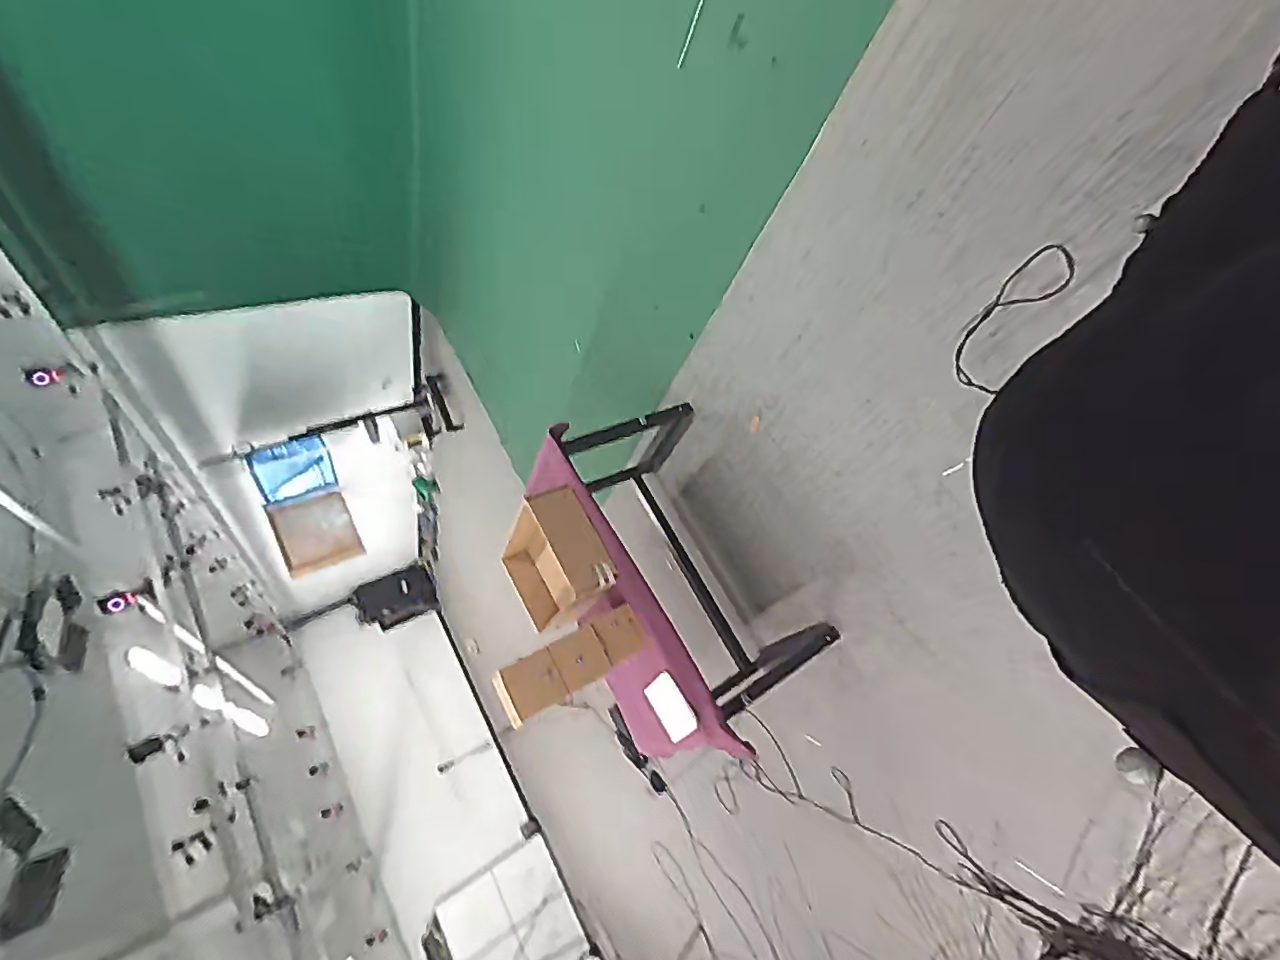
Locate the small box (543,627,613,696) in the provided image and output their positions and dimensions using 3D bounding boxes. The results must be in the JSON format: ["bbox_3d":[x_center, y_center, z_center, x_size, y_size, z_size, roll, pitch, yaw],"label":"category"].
[{"bbox_3d":[-0.217,0.609,1.809,0.179,0.176,0.168,60,149,16],"label":"small box"}]

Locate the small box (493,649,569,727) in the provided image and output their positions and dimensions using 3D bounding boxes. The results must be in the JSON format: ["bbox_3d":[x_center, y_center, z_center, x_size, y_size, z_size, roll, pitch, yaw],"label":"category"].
[{"bbox_3d":[-0.350,0.659,1.726,0.179,0.176,0.168,61,149,16],"label":"small box"}]

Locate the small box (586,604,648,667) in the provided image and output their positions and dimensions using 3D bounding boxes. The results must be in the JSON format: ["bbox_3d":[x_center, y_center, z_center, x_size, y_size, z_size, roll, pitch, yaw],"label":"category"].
[{"bbox_3d":[-0.092,0.559,1.903,0.168,0.176,0.179,60,149,16],"label":"small box"}]
